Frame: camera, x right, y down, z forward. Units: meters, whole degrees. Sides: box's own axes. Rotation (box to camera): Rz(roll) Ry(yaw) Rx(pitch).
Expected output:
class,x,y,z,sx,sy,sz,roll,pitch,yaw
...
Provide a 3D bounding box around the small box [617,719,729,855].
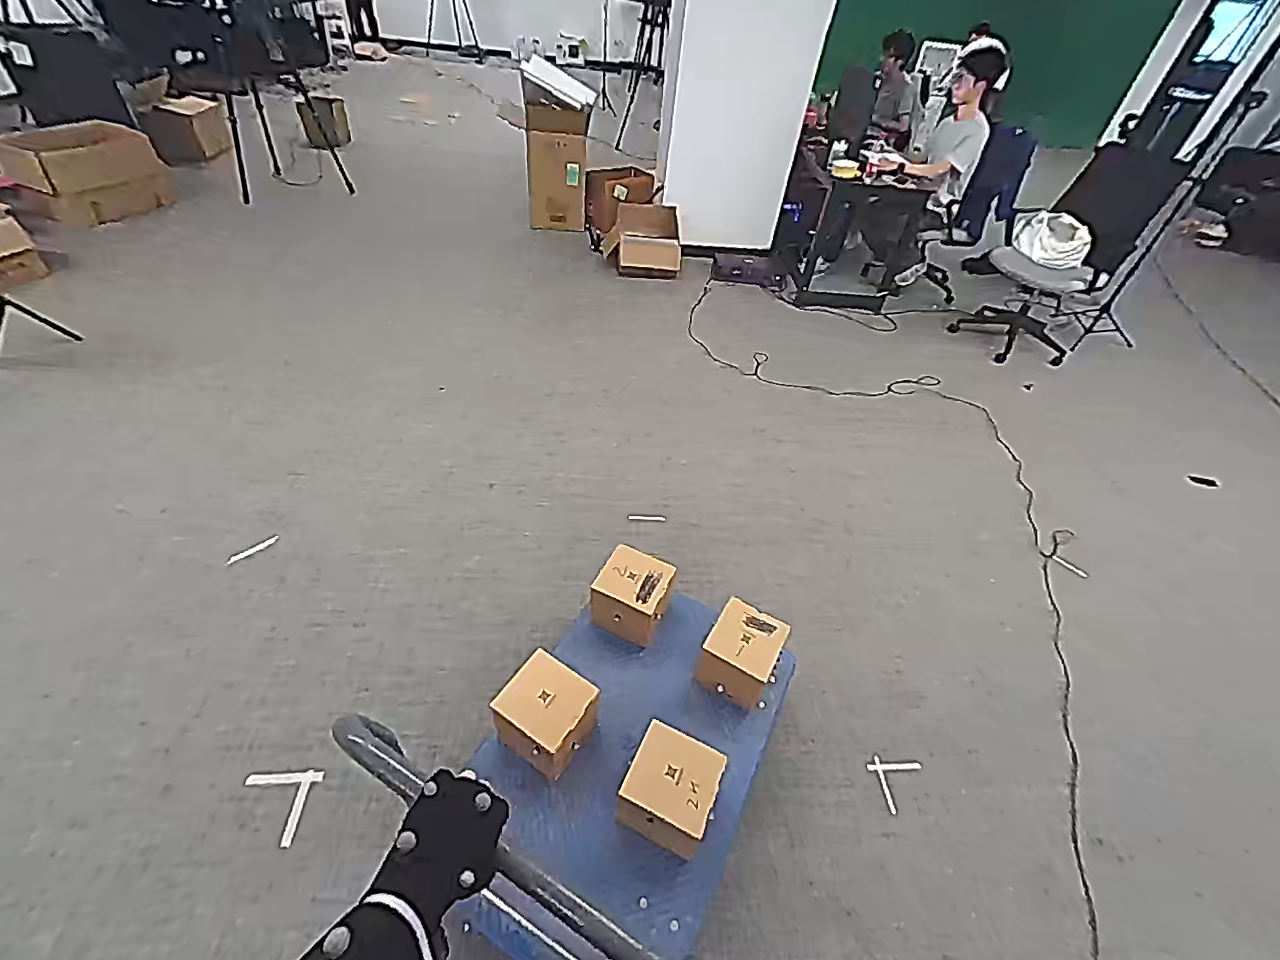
class,x,y,z,sx,sy,sz,roll,pitch,yaw
small box,0.062,0.645,1.130,0.179,0.176,0.168,23,47,15

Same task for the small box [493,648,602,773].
class,x,y,z,sx,sy,sz,roll,pitch,yaw
small box,-0.208,0.523,1.220,0.179,0.176,0.168,29,48,18

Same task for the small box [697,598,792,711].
class,x,y,z,sx,sy,sz,roll,pitch,yaw
small box,0.258,0.441,1.364,0.168,0.176,0.179,26,48,19
